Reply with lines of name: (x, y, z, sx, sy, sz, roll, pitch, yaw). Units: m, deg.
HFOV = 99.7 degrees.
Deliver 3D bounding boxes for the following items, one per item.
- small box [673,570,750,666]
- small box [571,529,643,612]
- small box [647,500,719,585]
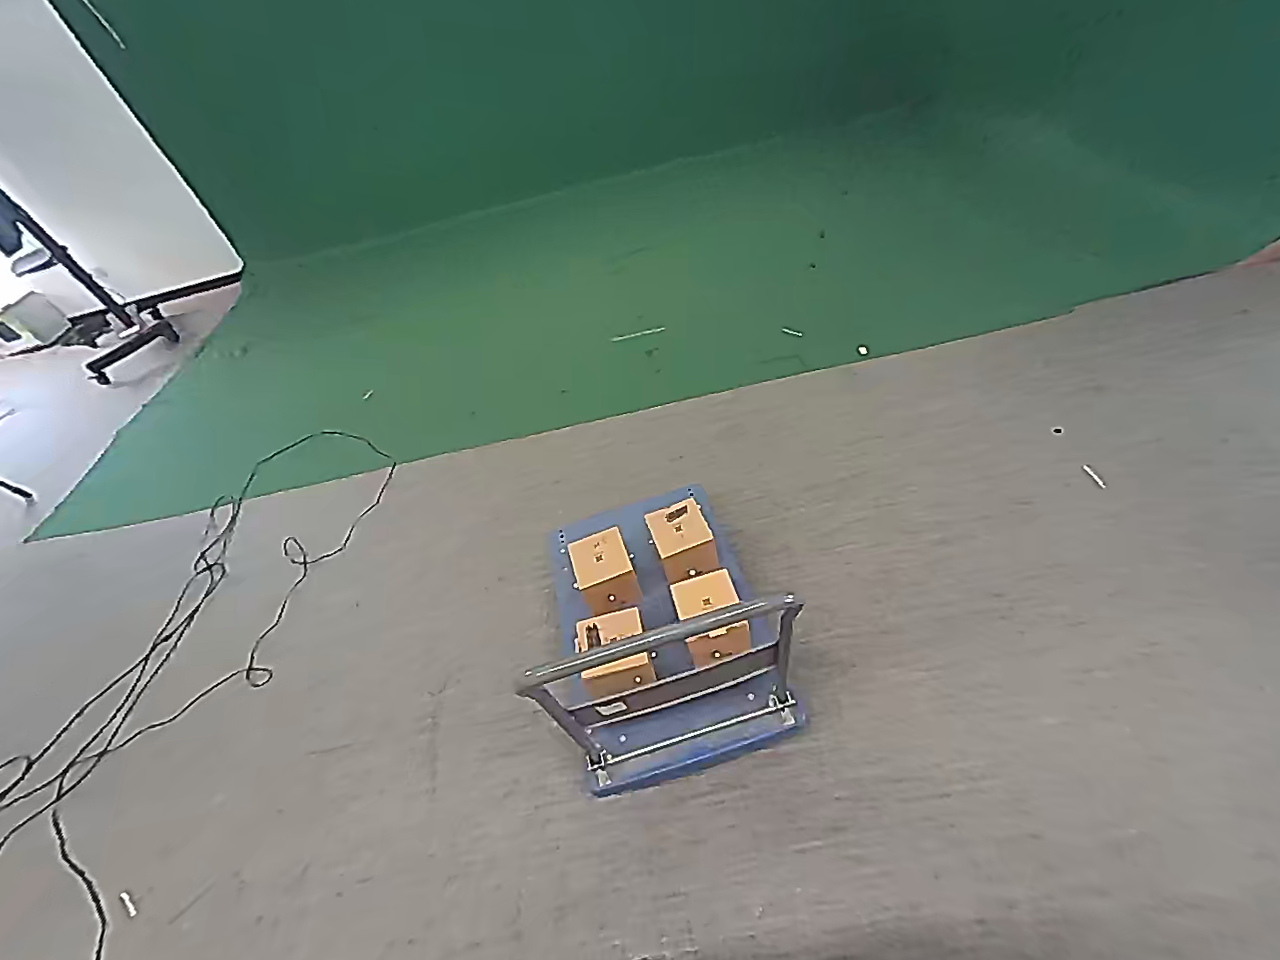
small box: (0.199, 0.385, 1.504, 0.168, 0.176, 0.179, -17, 47, 0)
small box: (-0.100, 0.288, 1.674, 0.168, 0.176, 0.179, -20, 46, -4)
small box: (0.135, 0.199, 1.690, 0.168, 0.176, 0.179, -21, 47, -2)
